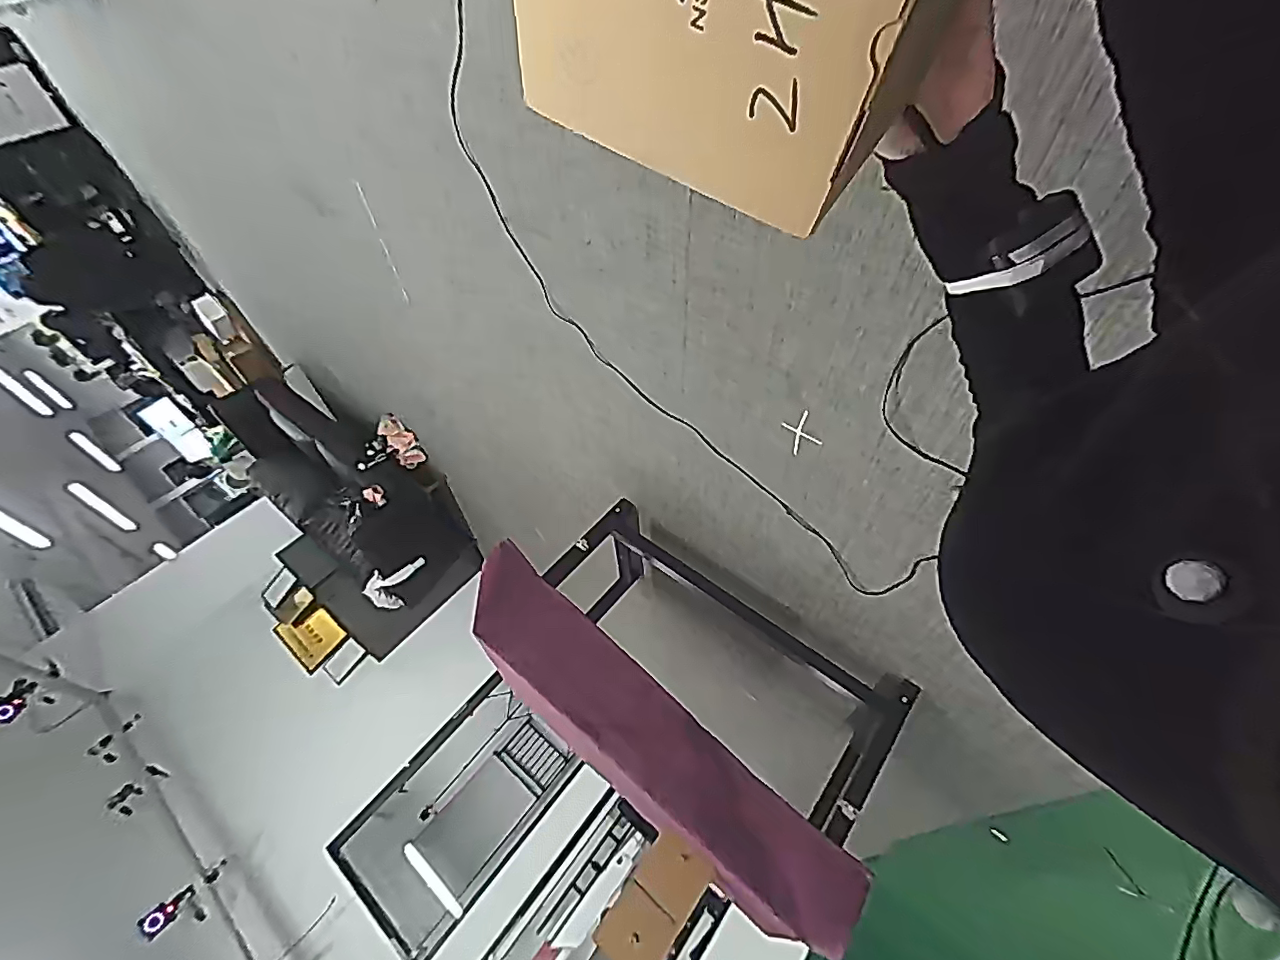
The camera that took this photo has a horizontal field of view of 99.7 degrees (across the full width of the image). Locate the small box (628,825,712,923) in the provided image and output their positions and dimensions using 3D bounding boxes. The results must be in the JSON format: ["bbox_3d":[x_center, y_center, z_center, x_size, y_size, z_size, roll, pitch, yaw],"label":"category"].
[{"bbox_3d":[0.089,1.142,1.576,0.179,0.176,0.168,31,149,27],"label":"small box"}]

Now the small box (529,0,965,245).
[{"bbox_3d":[0.064,-0.258,0.255,0.179,0.176,0.168,31,155,9],"label":"small box"}]

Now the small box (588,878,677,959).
[{"bbox_3d":[-0.017,1.242,1.499,0.179,0.176,0.168,30,148,26],"label":"small box"}]
